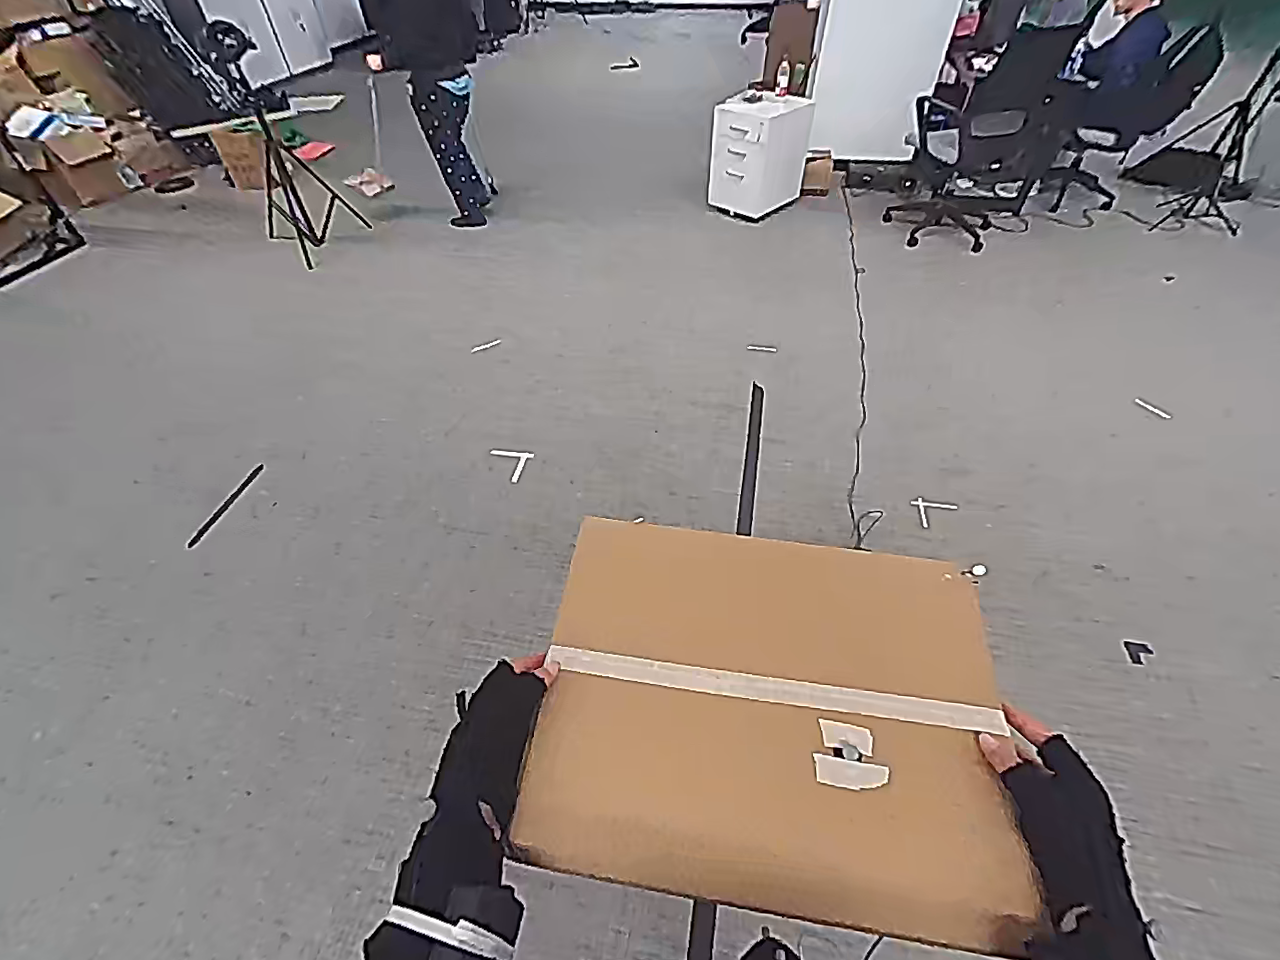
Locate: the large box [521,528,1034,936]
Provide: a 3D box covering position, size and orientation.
[{"bbox_3d":[0.119,0.283,0.623,0.408,0.320,0.320,7,55,6],"label":"large box"}]
